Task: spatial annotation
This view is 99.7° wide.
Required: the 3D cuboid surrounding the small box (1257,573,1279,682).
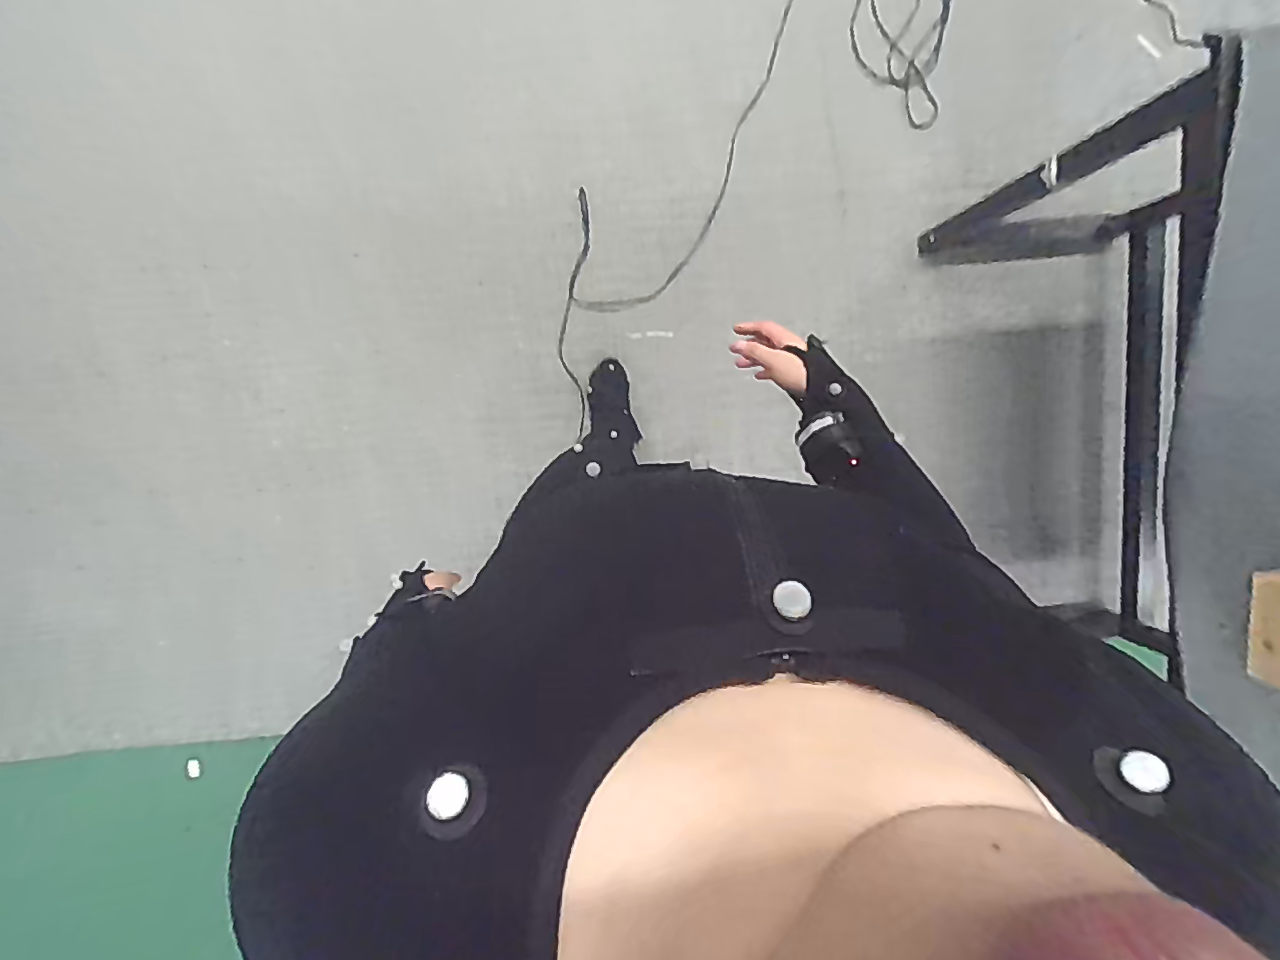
[{"bbox_3d":[1.030,0.222,0.752,0.179,0.176,0.168,-5,96,-5],"label":"small box"}]
